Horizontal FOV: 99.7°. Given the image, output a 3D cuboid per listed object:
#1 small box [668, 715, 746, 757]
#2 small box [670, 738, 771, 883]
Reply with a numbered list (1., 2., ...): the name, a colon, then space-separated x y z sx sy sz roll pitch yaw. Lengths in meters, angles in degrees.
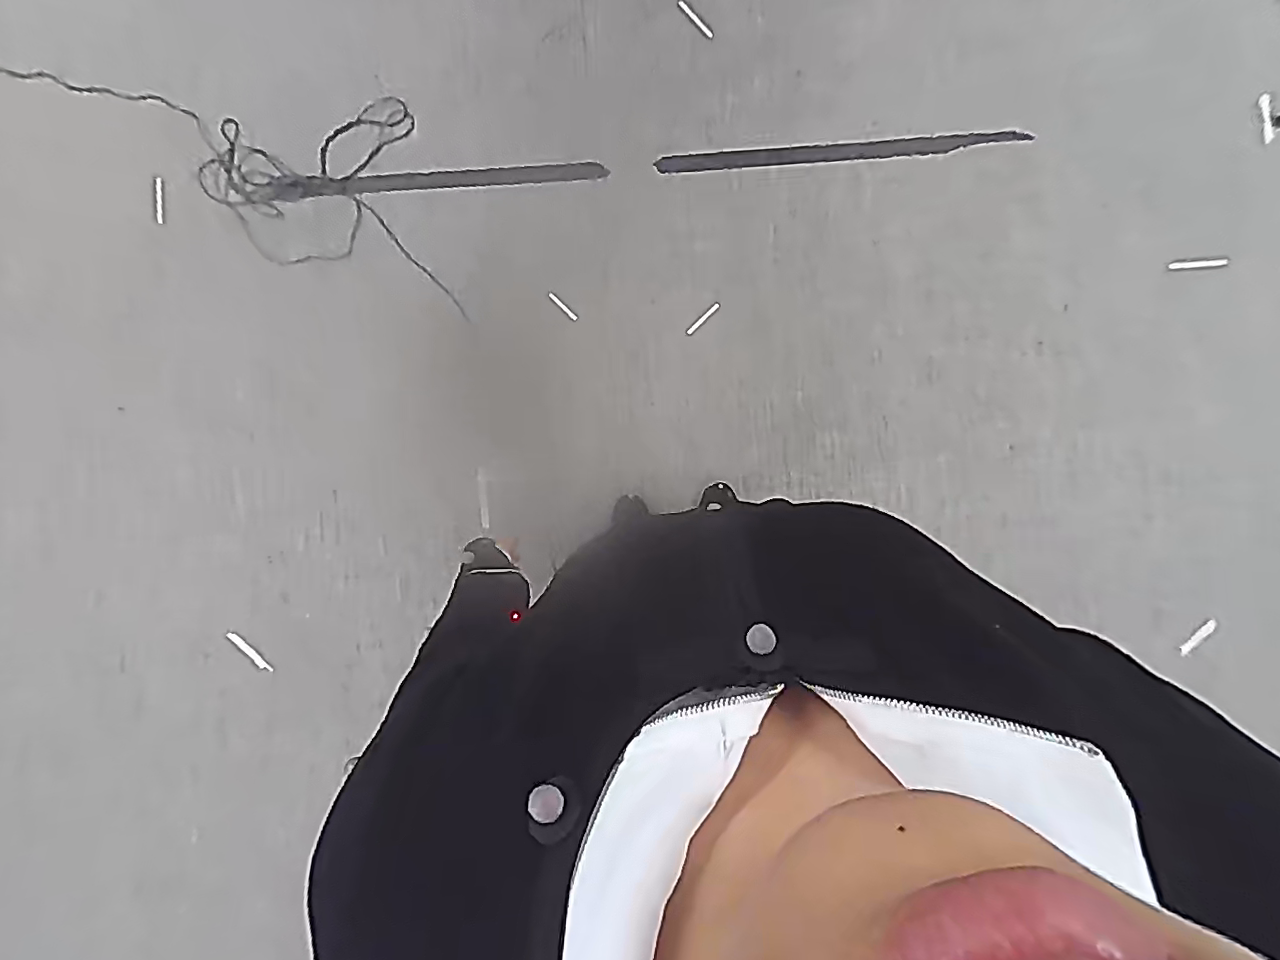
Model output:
1. small box: 0.152 0.630 1.214 0.168 0.176 0.179 -6 88 1
2. small box: 0.149 0.631 1.050 0.168 0.176 0.179 -7 88 1
